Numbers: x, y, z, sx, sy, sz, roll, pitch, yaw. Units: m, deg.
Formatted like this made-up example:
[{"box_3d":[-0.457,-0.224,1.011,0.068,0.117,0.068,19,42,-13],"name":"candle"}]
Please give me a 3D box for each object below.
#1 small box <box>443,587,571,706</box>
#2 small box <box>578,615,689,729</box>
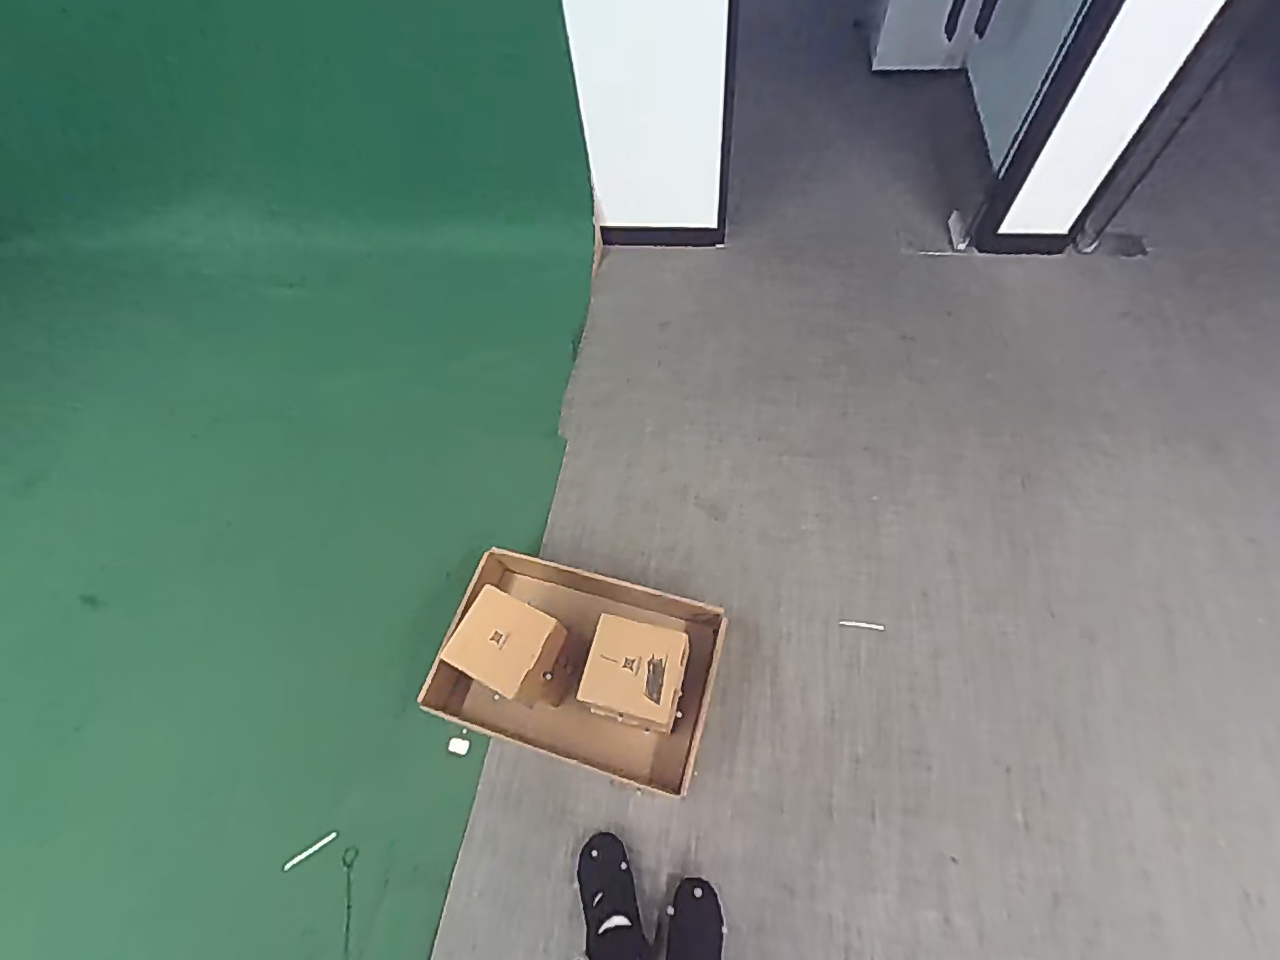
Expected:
[{"box_3d":[-0.266,0.352,1.125,0.179,0.176,0.168,23,65,14],"name":"small box"},{"box_3d":[-0.002,0.387,1.076,0.179,0.176,0.168,11,63,13],"name":"small box"}]
